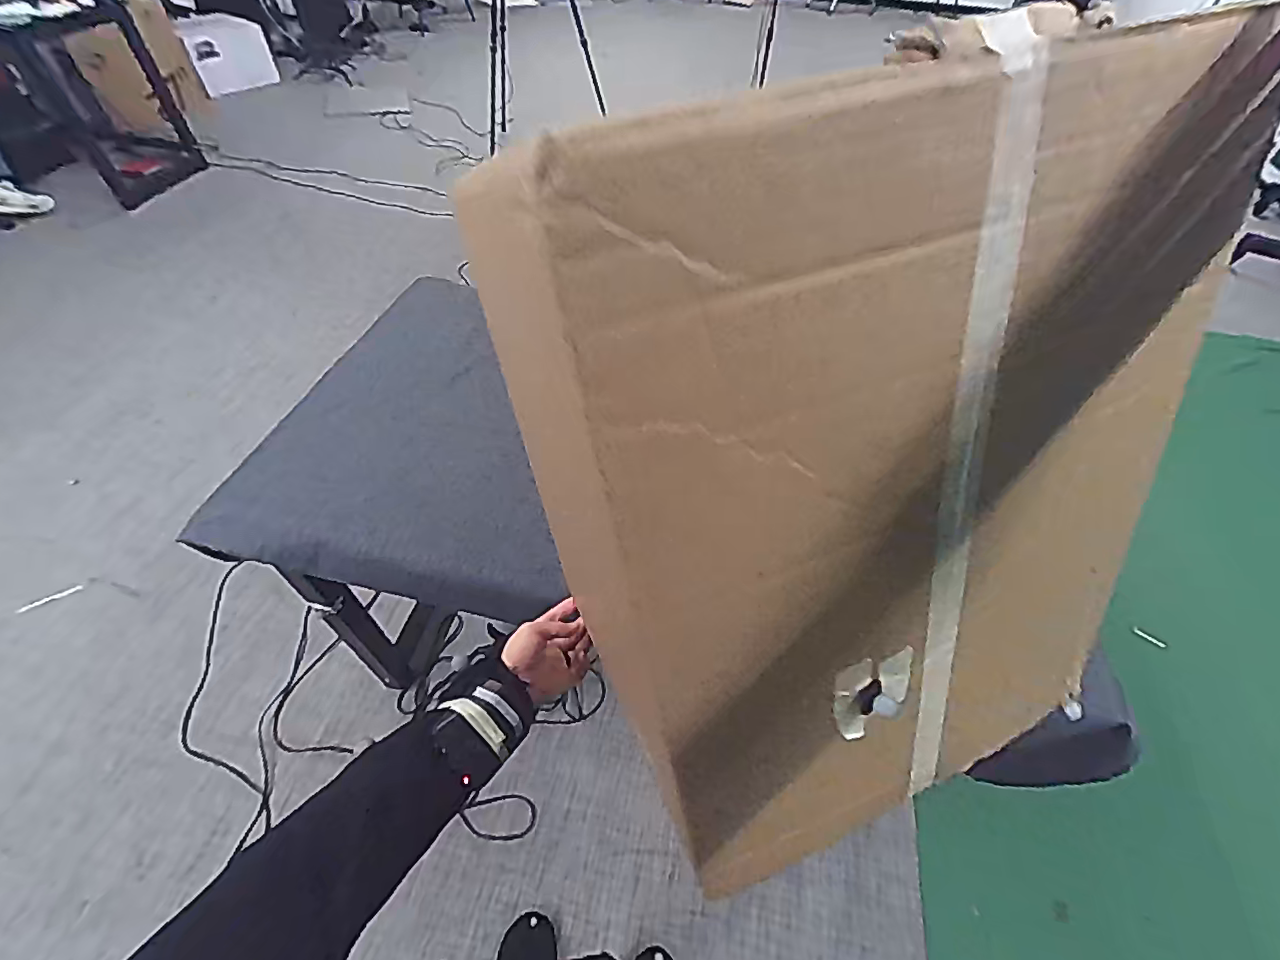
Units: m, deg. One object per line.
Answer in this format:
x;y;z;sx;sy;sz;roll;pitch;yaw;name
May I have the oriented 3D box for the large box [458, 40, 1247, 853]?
0.096;-0.032;0.412;0.320;0.408;0.320;-21;33;-14;large box
